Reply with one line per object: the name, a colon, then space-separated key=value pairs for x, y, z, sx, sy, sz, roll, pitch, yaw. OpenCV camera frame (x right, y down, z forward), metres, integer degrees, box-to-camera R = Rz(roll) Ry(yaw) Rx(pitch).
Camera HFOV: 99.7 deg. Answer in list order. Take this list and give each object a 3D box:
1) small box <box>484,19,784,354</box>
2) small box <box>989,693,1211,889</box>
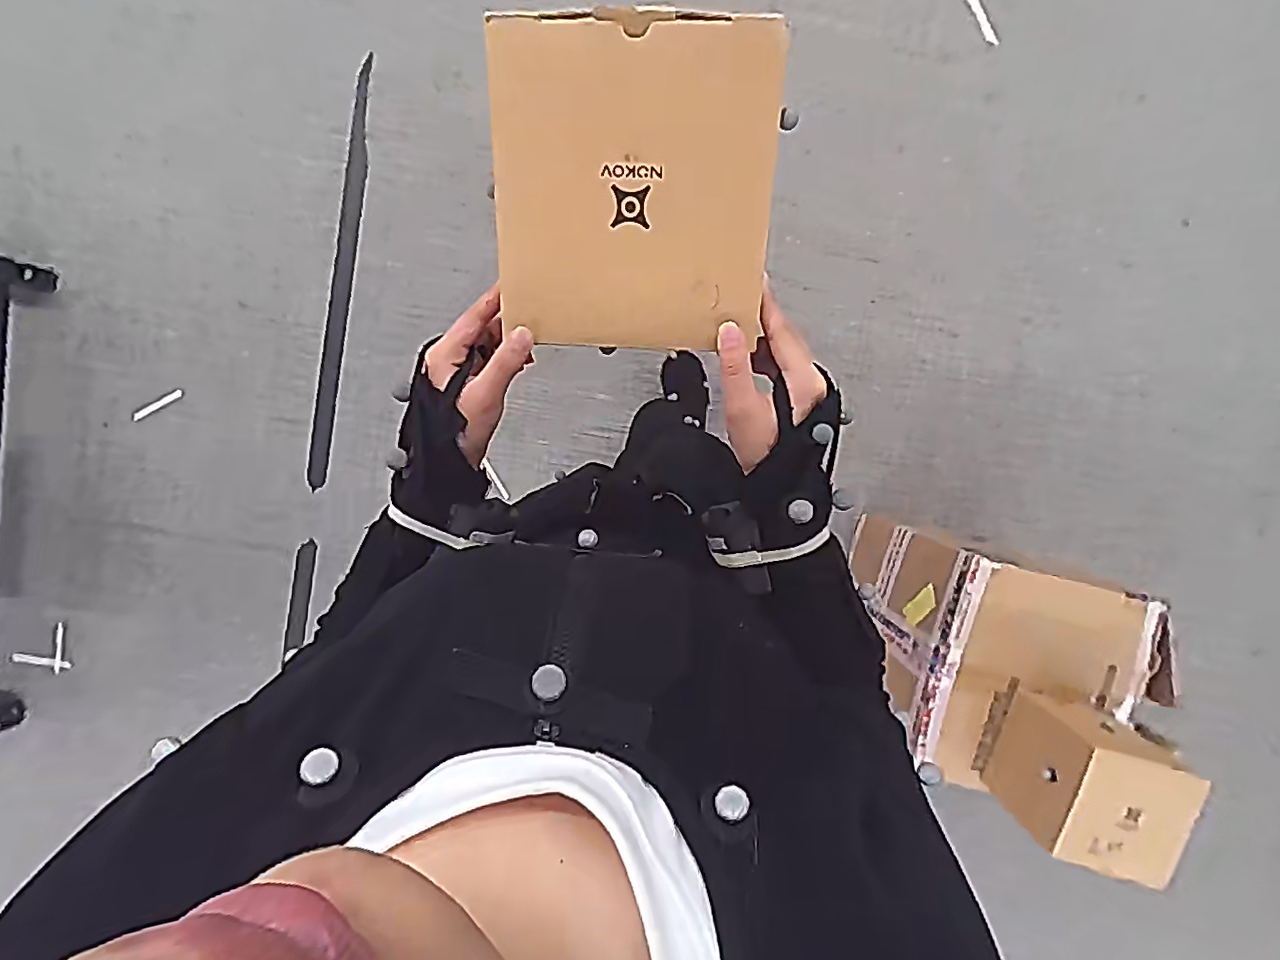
small box: x=0.000 y=-0.195 z=0.394 sx=0.168 sy=0.176 sz=0.179 roll=2 pitch=111 yaw=3
small box: x=0.677 y=0.456 z=0.821 sx=0.168 sy=0.176 sz=0.179 roll=17 pitch=97 yaw=1
